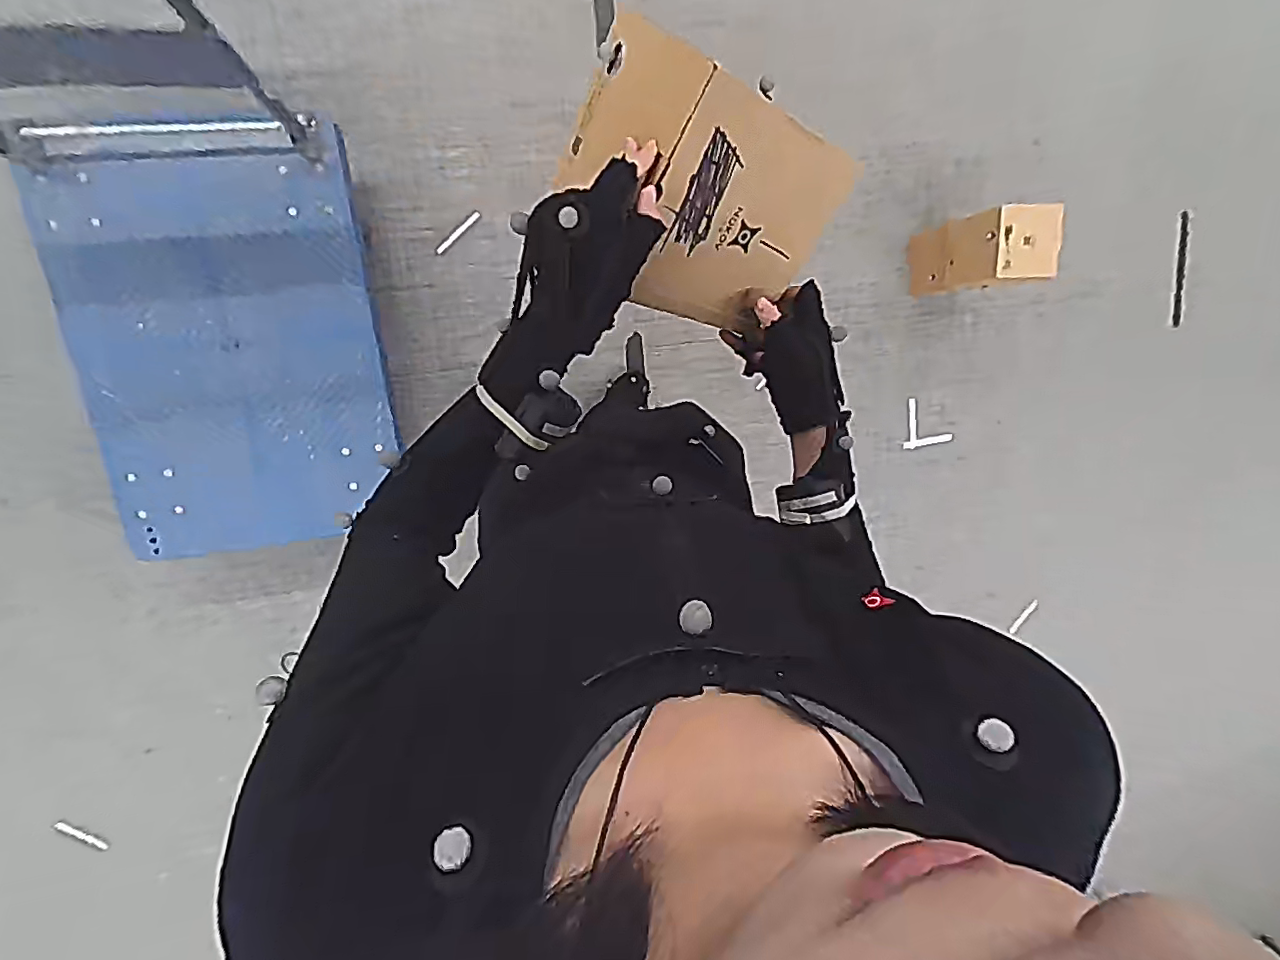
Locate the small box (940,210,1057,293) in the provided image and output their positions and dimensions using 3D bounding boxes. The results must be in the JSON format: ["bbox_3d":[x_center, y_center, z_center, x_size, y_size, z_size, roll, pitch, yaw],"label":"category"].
[{"bbox_3d":[0.902,-0.574,1.371,0.179,0.176,0.168,-5,102,-12],"label":"small box"}]

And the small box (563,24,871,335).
[{"bbox_3d":[0.053,-0.261,0.481,0.179,0.176,0.168,4,135,-37],"label":"small box"}]

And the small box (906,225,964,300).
[{"bbox_3d":[0.881,-0.614,1.529,0.168,0.176,0.179,-12,102,-10],"label":"small box"}]
